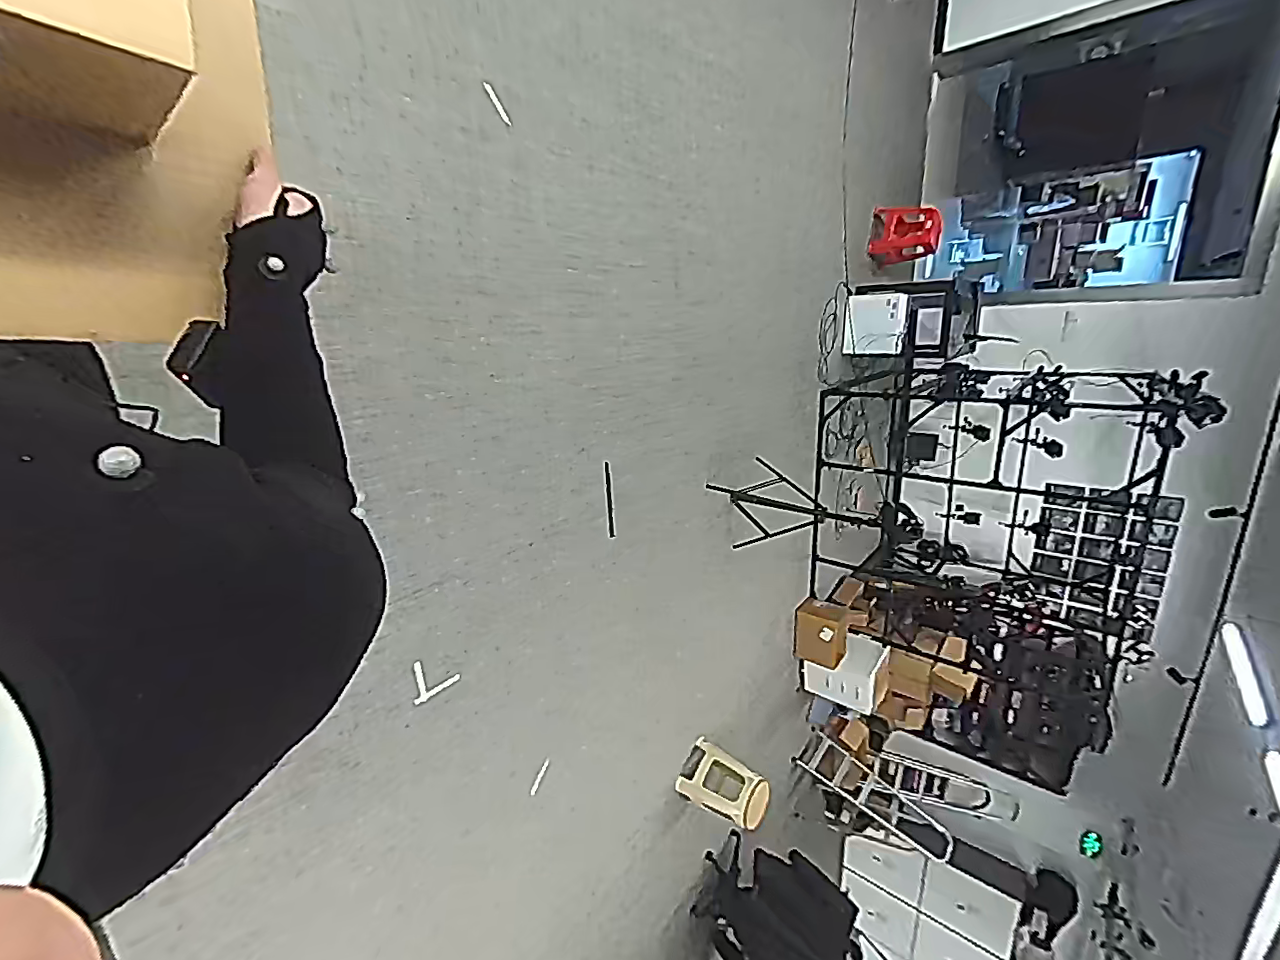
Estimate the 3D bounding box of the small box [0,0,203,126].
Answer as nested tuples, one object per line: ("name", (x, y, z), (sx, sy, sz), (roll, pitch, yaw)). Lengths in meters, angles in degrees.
("small box", (-0.415, -0.354, 0.342), (0.179, 0.176, 0.168), (-12, 107, -48))
